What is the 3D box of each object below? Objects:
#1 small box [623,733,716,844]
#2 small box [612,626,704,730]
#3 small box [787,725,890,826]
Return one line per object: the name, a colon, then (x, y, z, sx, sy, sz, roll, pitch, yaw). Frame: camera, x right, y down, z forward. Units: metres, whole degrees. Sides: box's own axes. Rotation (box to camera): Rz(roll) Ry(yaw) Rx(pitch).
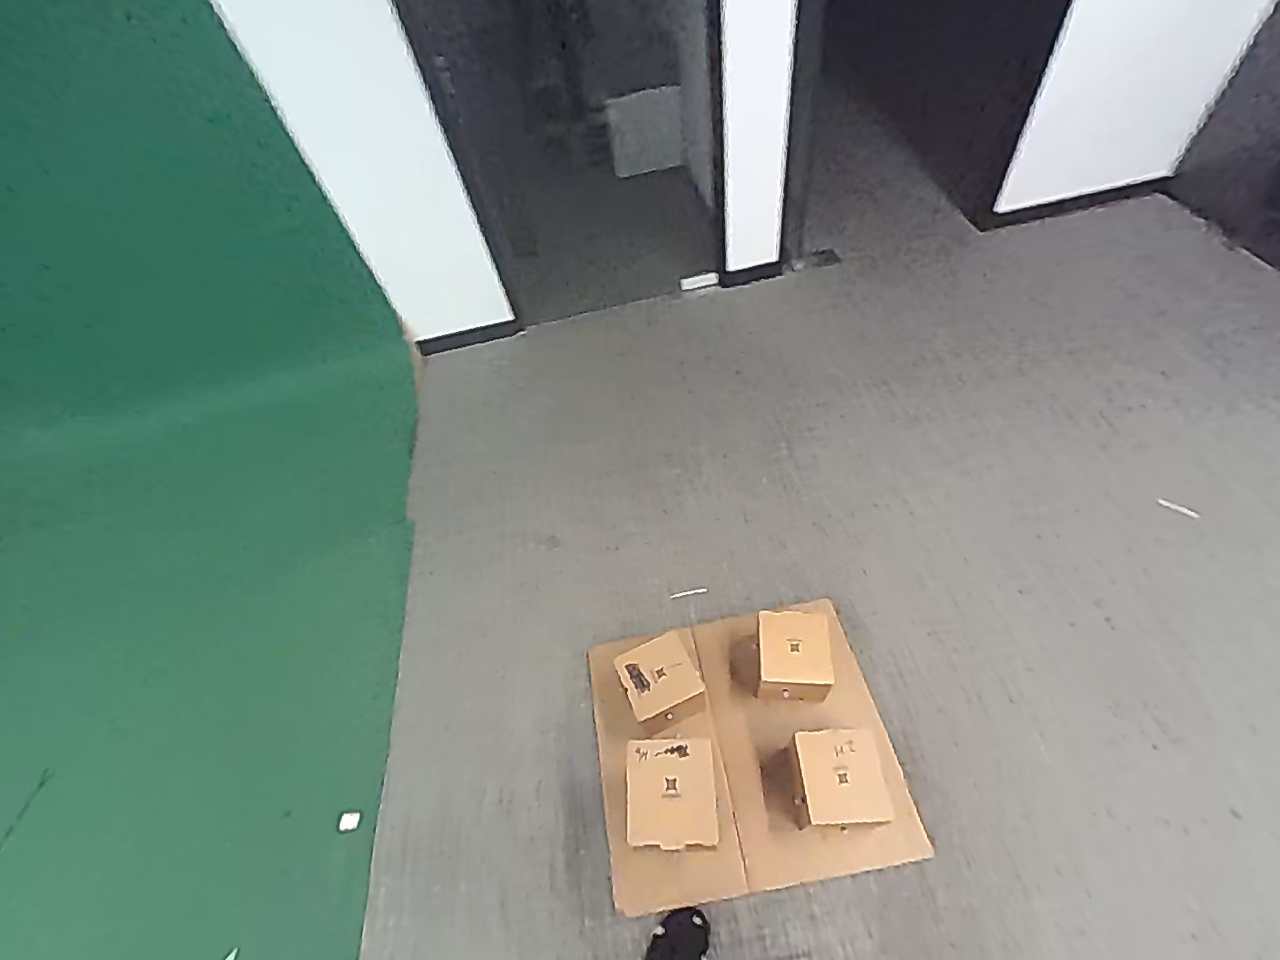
small box: (0.062, 0.610, 1.064, 0.168, 0.176, 0.179, -3, 53, 5)
small box: (0.049, 0.501, 1.356, 0.179, 0.176, 0.168, -22, 53, -9)
small box: (0.422, 0.648, 1.179, 0.168, 0.176, 0.179, -5, 52, 5)
